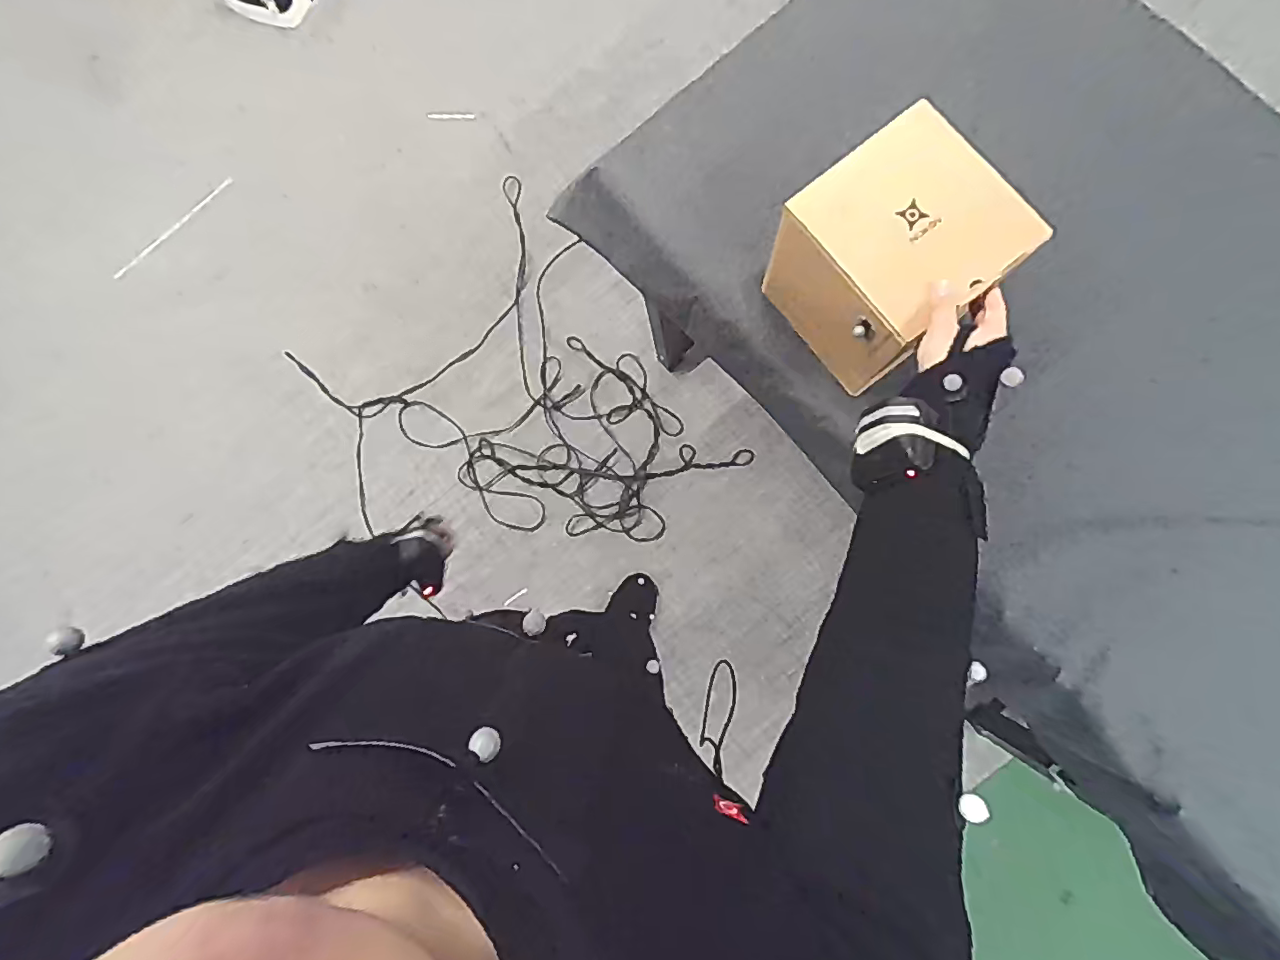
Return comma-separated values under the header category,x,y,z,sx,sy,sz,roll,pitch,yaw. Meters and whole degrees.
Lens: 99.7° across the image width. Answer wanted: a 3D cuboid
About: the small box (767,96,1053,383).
category,x,y,z,sx,sy,sz,roll,pitch,yaw
small box,0.254,-0.230,0.563,0.168,0.176,0.179,-37,82,0
